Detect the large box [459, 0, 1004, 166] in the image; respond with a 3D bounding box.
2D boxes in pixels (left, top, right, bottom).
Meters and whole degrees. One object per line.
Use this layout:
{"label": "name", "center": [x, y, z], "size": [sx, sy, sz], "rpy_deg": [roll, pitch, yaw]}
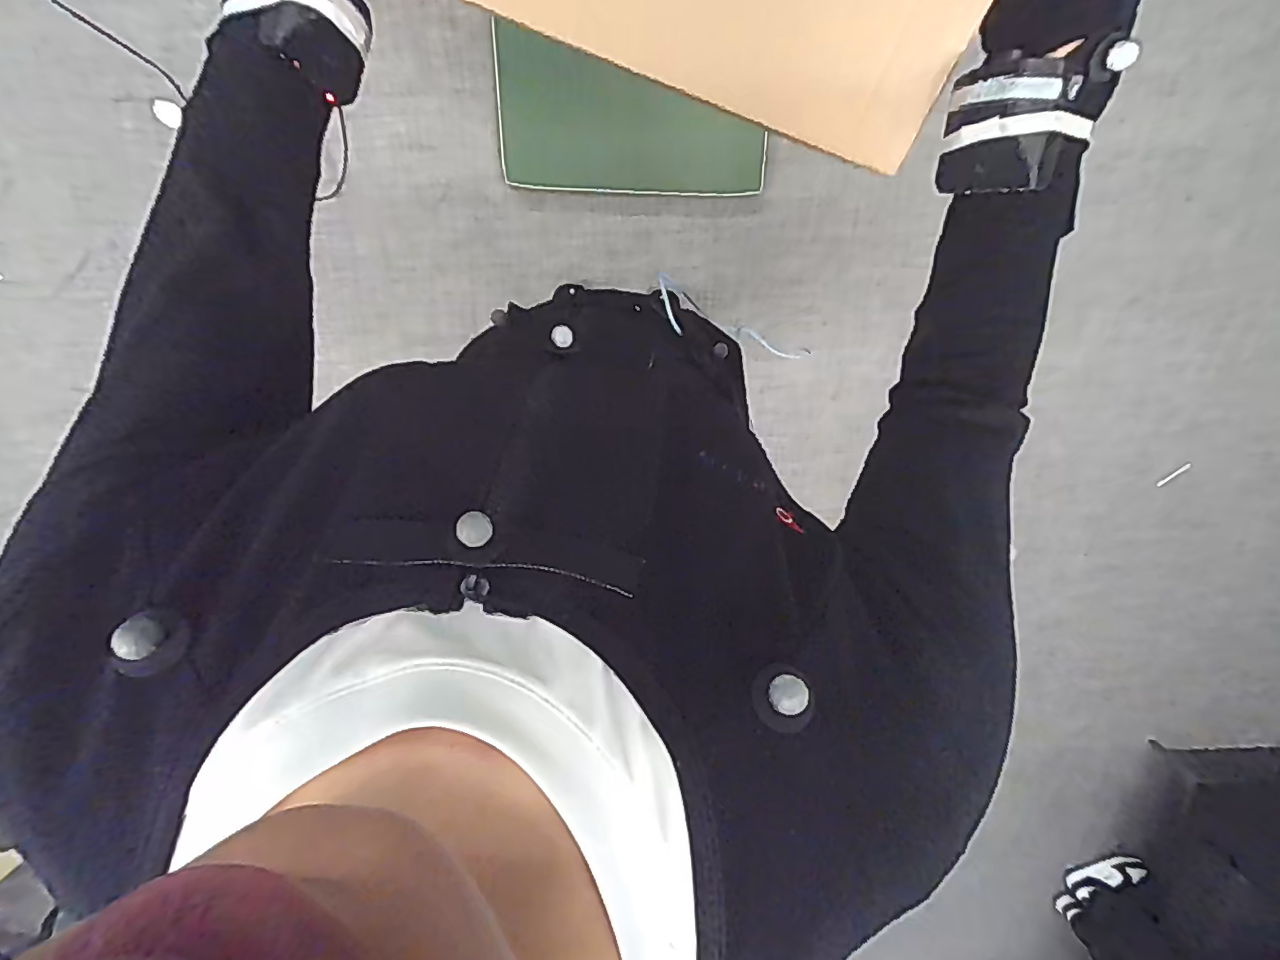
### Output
{"label": "large box", "center": [0.093, -0.480, 0.416], "size": [0.408, 0.320, 0.320], "rpy_deg": [26, 125, 4]}
